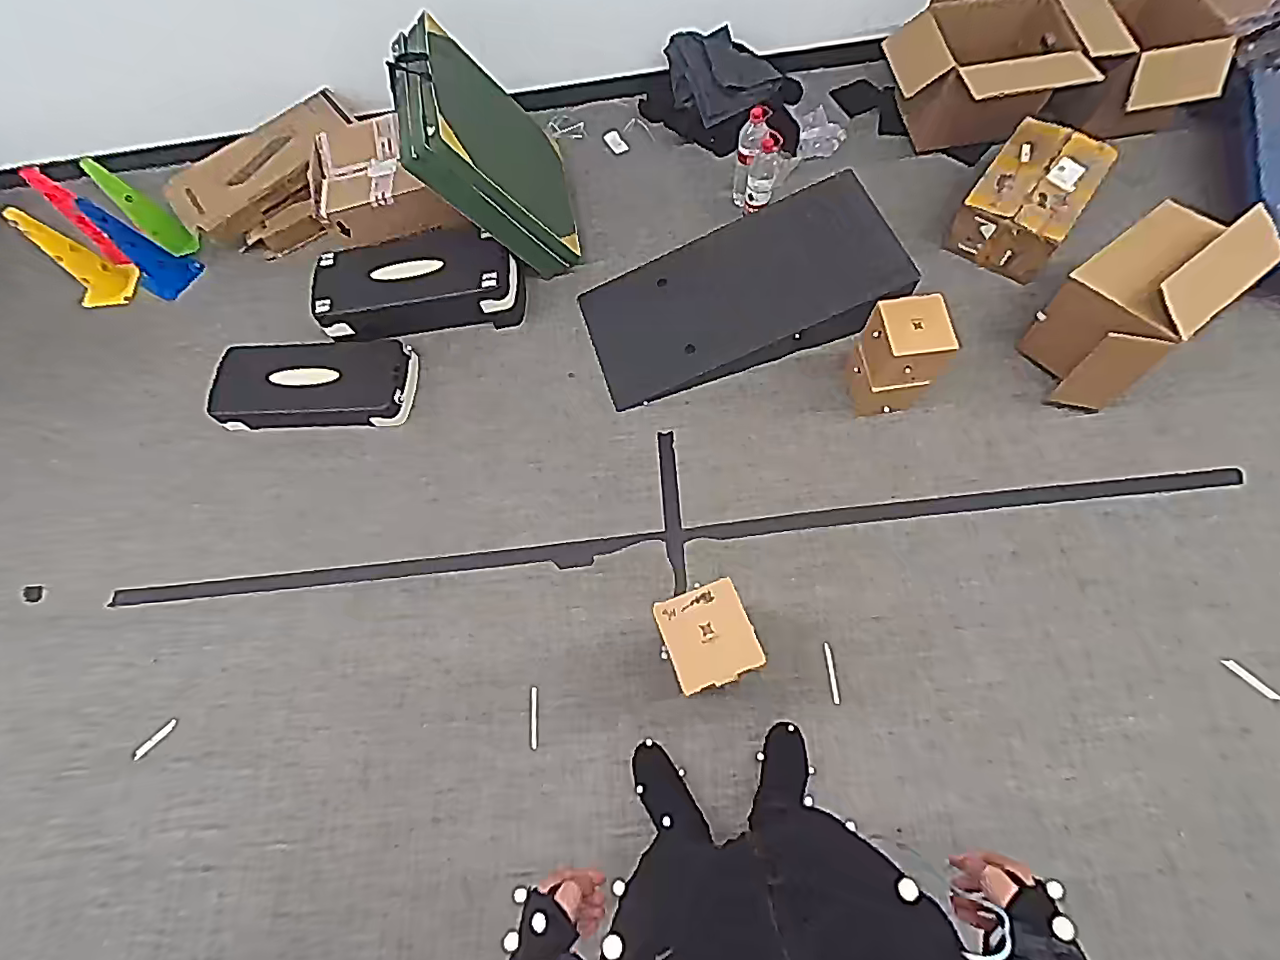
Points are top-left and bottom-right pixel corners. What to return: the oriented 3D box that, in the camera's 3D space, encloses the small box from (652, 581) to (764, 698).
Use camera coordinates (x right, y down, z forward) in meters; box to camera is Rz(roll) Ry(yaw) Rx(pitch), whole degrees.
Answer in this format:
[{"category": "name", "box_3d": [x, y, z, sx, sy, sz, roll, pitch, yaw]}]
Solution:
[{"category": "small box", "box_3d": [0.133, 0.324, 1.098, 0.168, 0.176, 0.179, -20, 69, -3]}]
